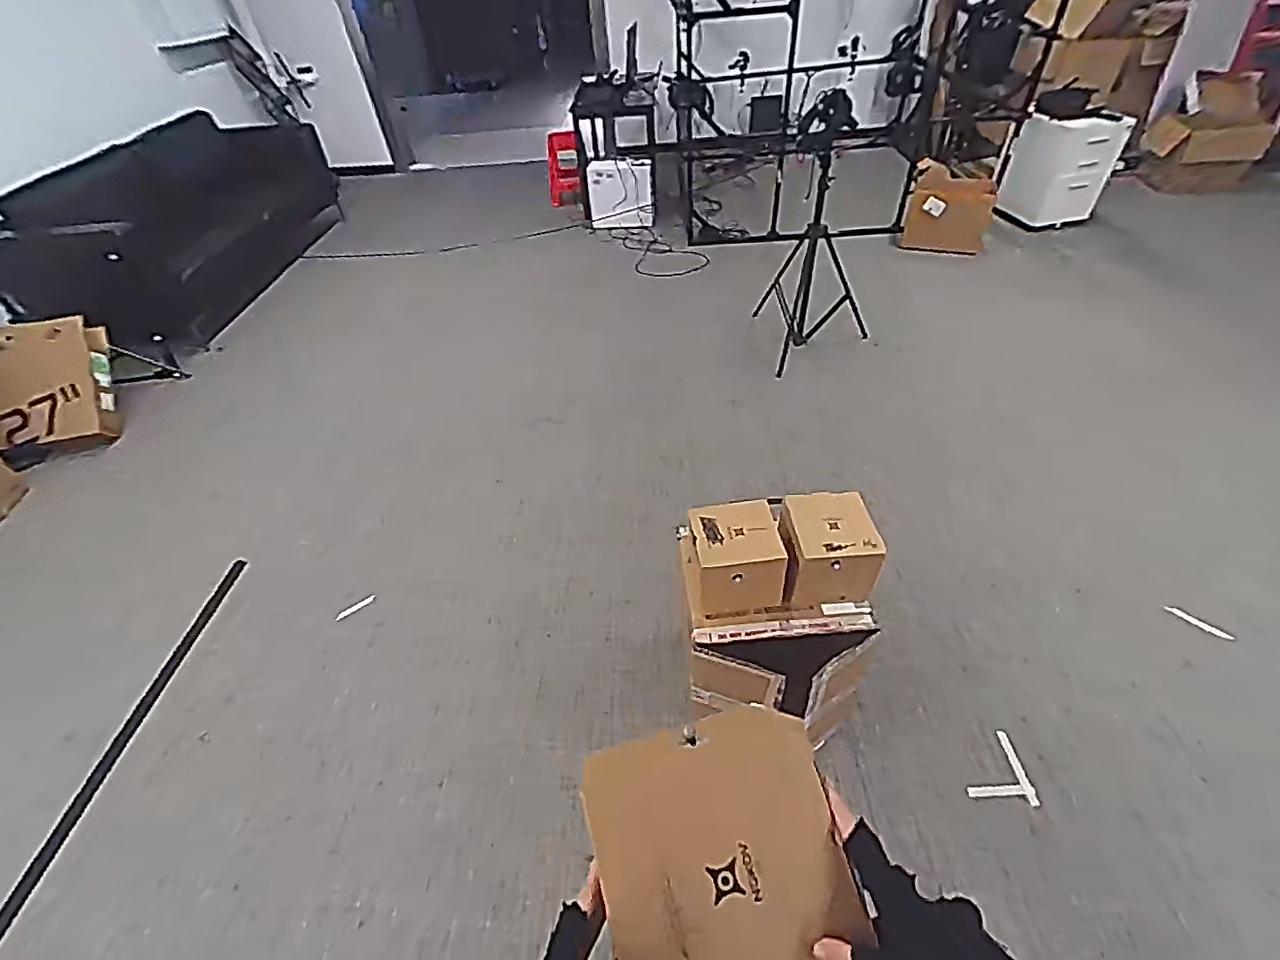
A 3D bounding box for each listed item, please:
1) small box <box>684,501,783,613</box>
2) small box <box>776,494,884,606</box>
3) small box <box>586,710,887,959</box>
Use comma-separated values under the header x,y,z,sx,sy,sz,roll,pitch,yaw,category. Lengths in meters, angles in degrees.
x,y,z,sx,sy,sz,roll,pitch,yaw,category
0.197,0.169,1.164,0.179,0.176,0.168,-7,43,-1,small box
0.394,0.150,1.165,0.168,0.176,0.179,-3,43,-1,small box
0.058,0.299,0.448,0.179,0.176,0.168,-14,70,-9,small box
